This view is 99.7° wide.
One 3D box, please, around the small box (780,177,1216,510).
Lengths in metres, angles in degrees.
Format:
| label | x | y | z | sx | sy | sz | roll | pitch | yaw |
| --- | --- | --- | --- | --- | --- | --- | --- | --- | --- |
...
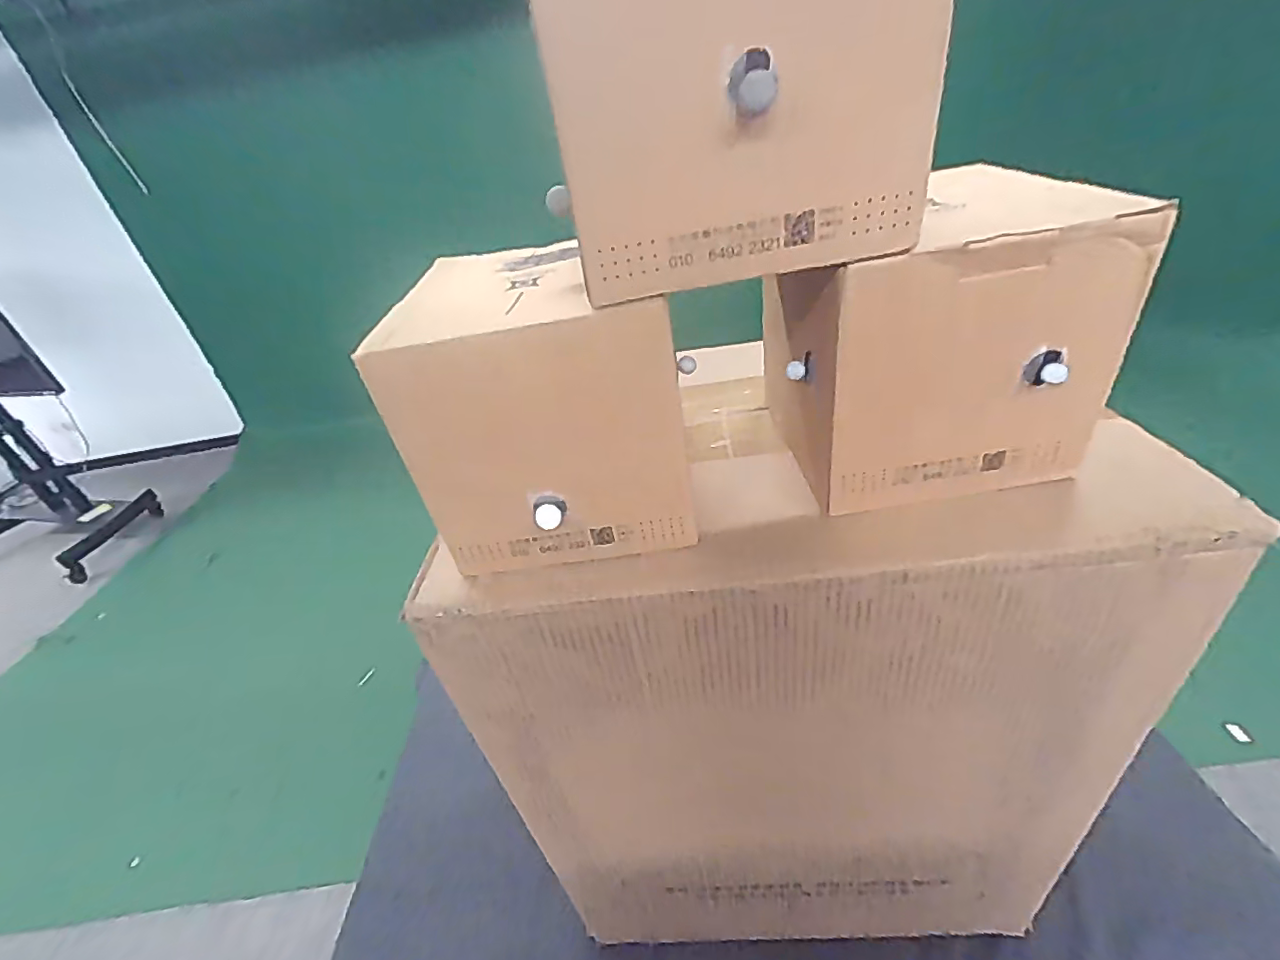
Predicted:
| label | x | y | z | sx | sy | sz | roll | pitch | yaw |
| --- | --- | --- | --- | --- | --- | --- | --- | --- | --- |
| small box | 0.202 | -0.093 | 0.374 | 0.168 | 0.176 | 0.179 | -8 | 36 | 0 |

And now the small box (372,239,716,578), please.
| label | x | y | z | sx | sy | sz | roll | pitch | yaw |
| --- | --- | --- | --- | --- | --- | --- | --- | --- | --- |
| small box | -0.041 | -0.056 | 0.374 | 0.168 | 0.176 | 0.179 | -7 | 36 | 7 |
